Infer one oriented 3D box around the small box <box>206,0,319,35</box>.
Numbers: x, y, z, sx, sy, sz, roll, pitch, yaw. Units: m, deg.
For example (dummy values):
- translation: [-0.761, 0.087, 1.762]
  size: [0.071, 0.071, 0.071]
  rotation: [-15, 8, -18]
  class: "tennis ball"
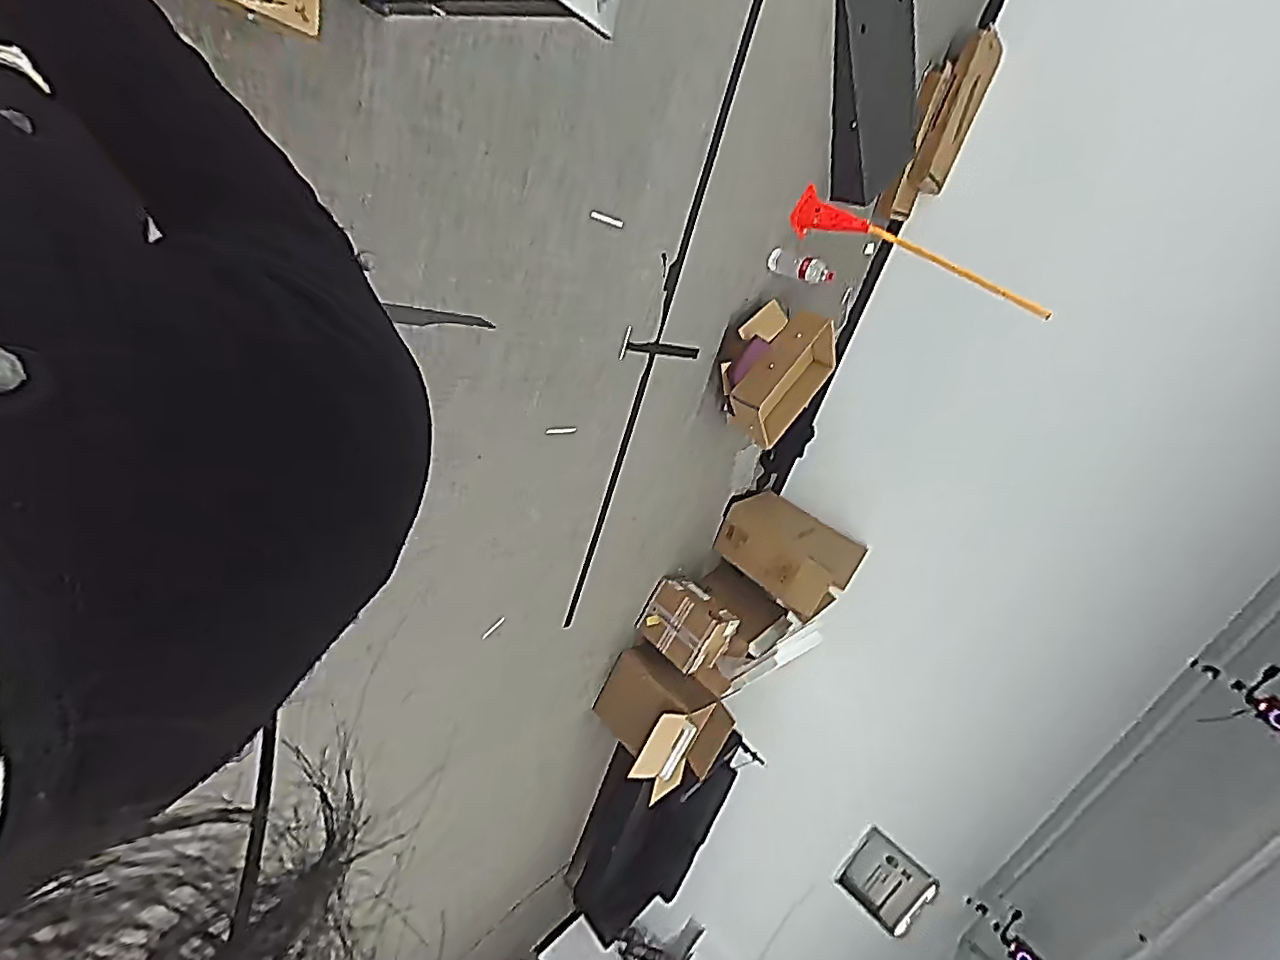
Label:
- translation: [-0.675, -0.915, 0.936]
  size: [0.168, 0.176, 0.179]
  rotation: [-10, 126, -48]
  class: "small box"
